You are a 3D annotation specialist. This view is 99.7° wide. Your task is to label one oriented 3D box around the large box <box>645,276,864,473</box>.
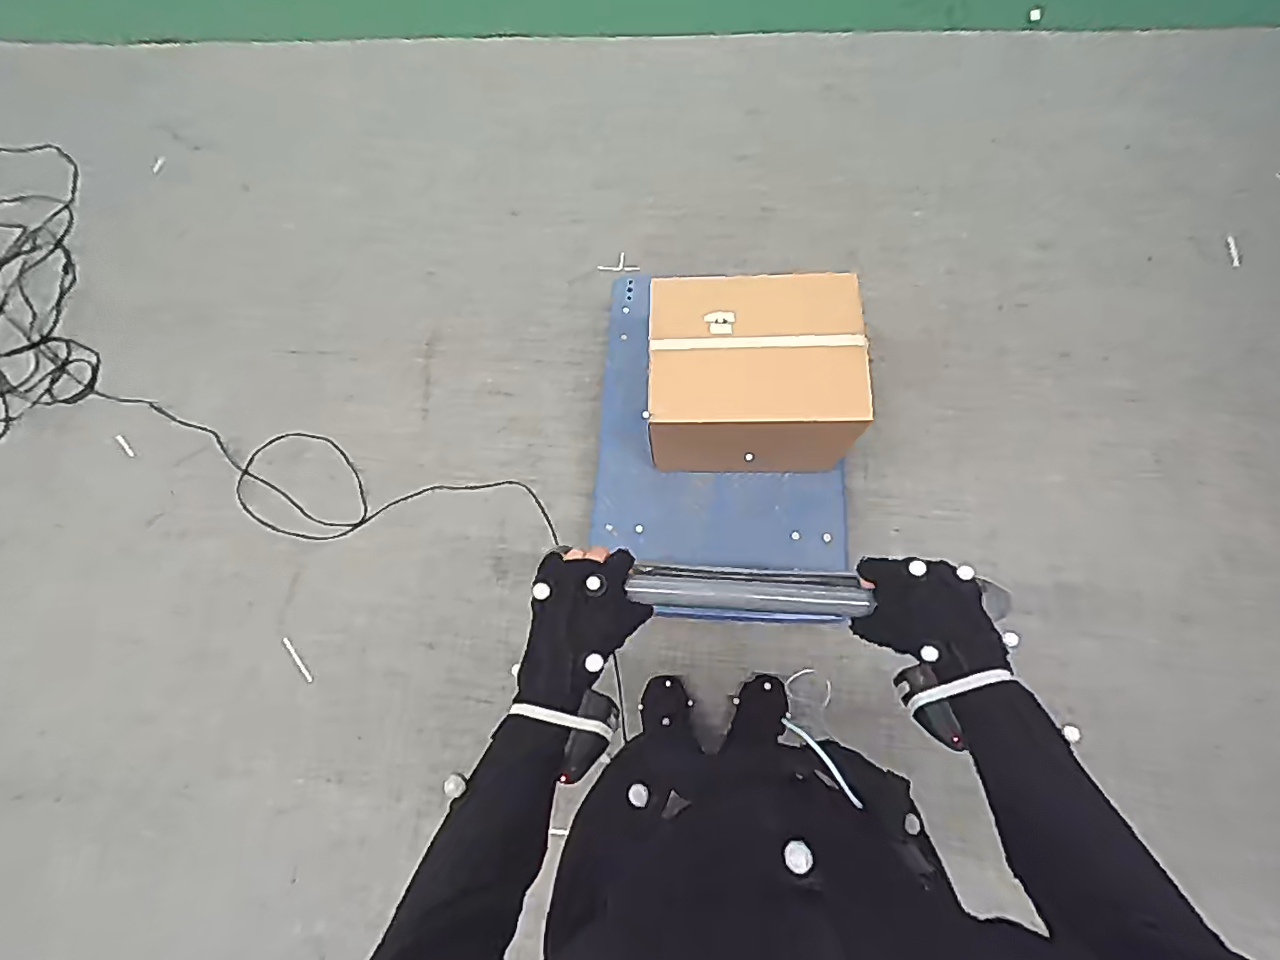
[{"bbox_3d":[0.224,-0.208,1.180,0.408,0.320,0.320,-2,73,5],"label":"large box"}]
